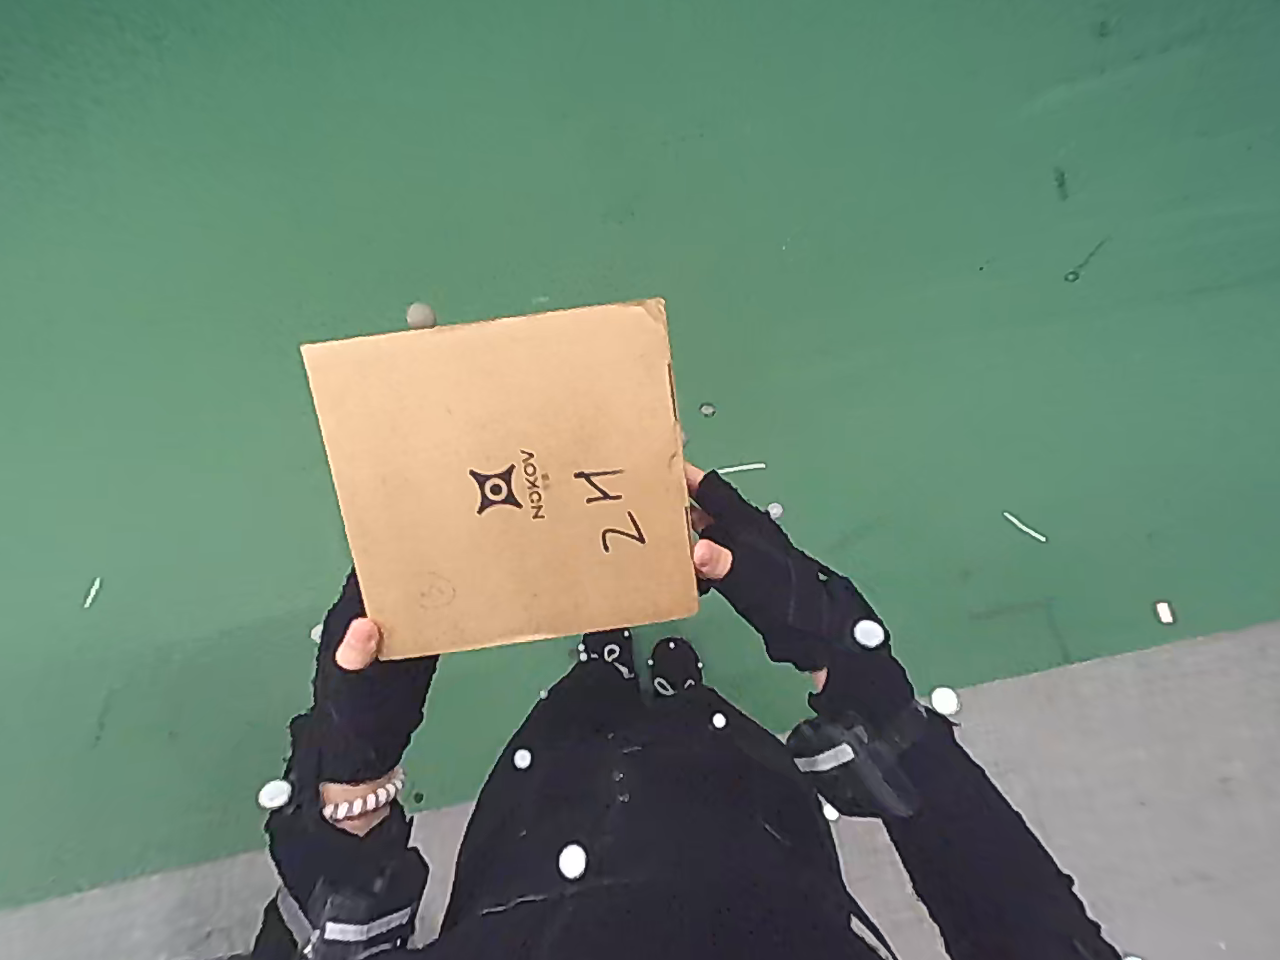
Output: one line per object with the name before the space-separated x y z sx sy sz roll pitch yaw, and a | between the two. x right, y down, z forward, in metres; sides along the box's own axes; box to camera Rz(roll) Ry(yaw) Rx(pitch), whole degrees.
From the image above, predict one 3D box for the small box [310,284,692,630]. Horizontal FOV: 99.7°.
small box | -0.069 -0.023 0.356 0.179 0.176 0.168 -8 102 -2
